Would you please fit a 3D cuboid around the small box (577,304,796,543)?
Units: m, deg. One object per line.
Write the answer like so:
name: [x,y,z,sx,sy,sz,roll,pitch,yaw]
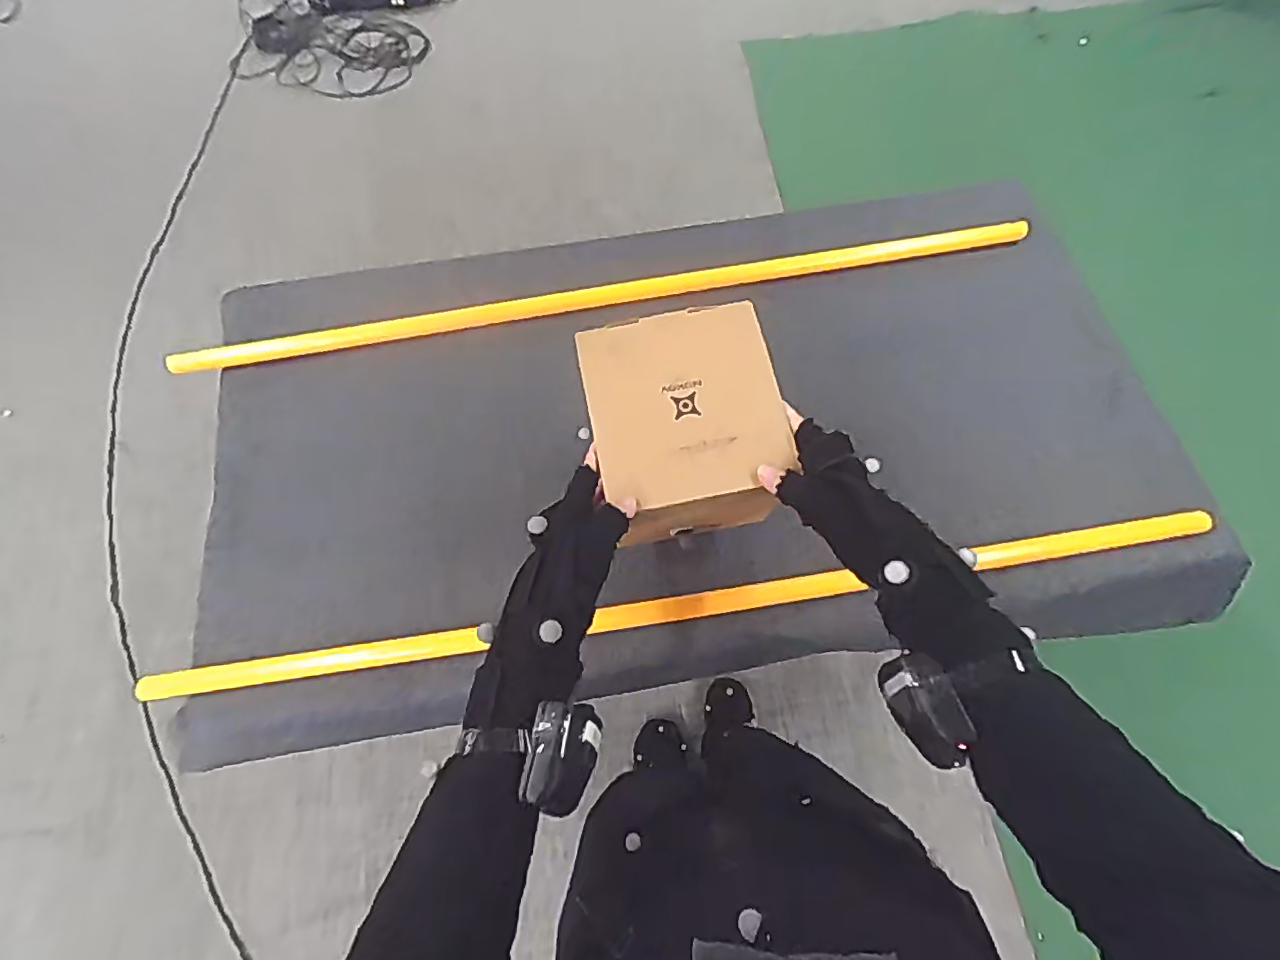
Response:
small box: [0.037,-0.046,0.554,0.168,0.176,0.179,-12,75,-2]
